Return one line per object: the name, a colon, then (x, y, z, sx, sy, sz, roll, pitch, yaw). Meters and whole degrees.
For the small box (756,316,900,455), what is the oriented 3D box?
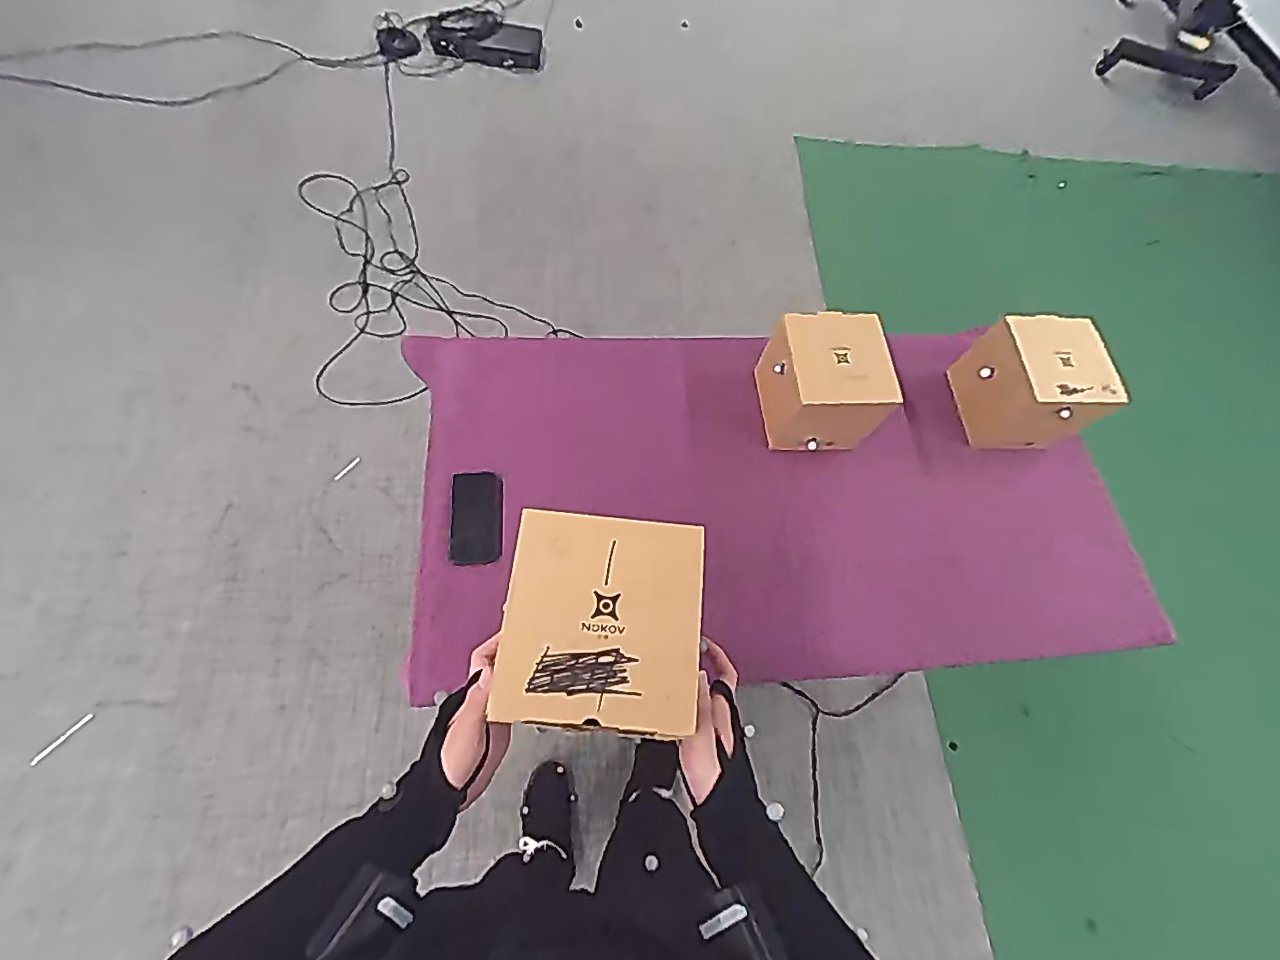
small box: (0.308, -0.158, 0.930, 0.168, 0.176, 0.179, -2, 66, -5)

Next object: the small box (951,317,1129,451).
small box: (0.696, -0.168, 0.969, 0.168, 0.176, 0.179, -1, 65, -5)

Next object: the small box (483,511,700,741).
small box: (-0.038, 0.145, 0.525, 0.168, 0.176, 0.179, 6, 67, -1)
